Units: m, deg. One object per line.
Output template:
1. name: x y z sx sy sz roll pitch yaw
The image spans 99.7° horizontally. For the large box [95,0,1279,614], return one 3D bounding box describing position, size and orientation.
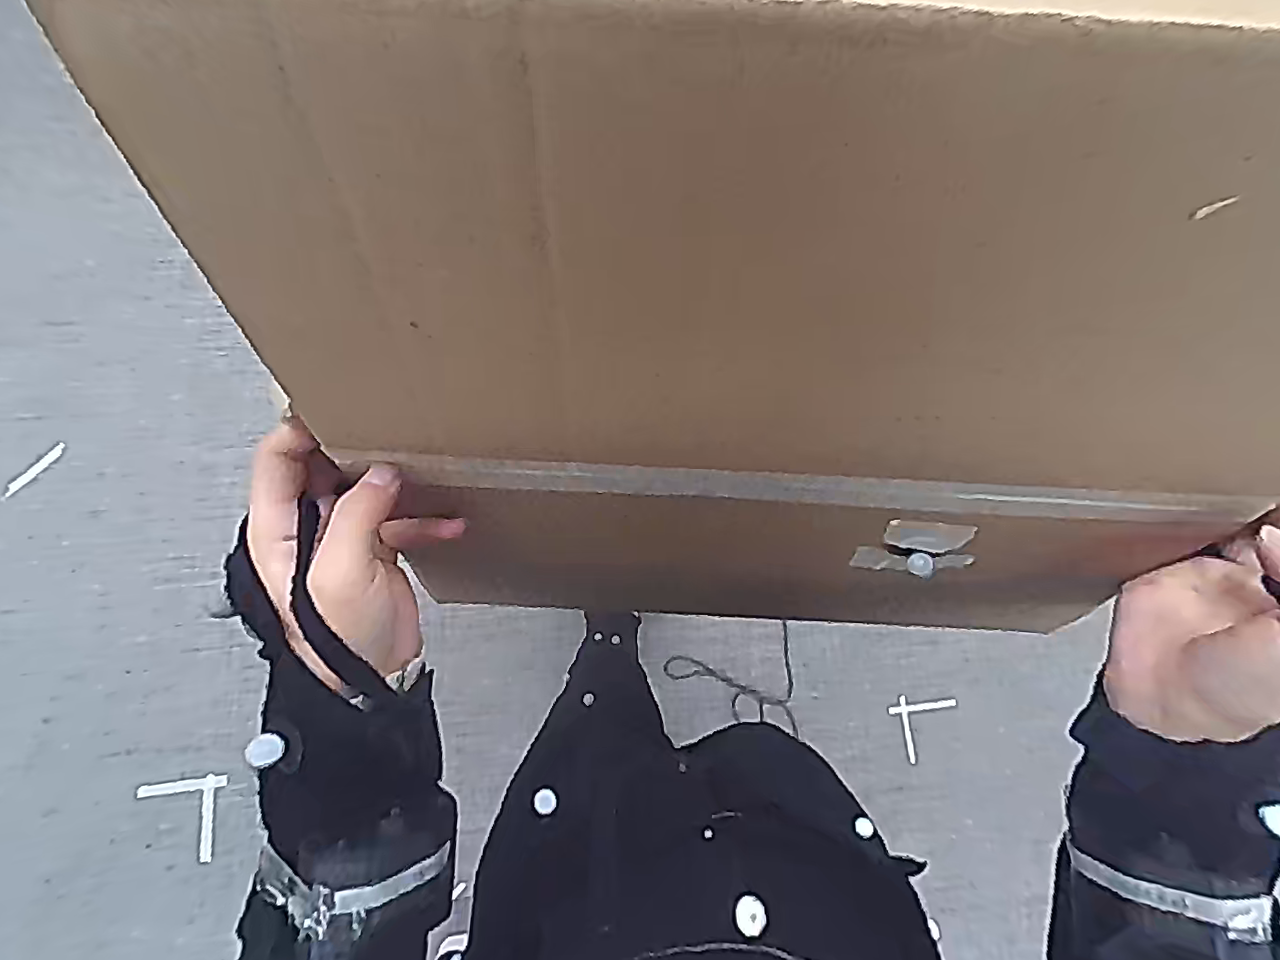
1. large box: 0.069 -0.125 0.329 0.408 0.320 0.320 2 55 0
